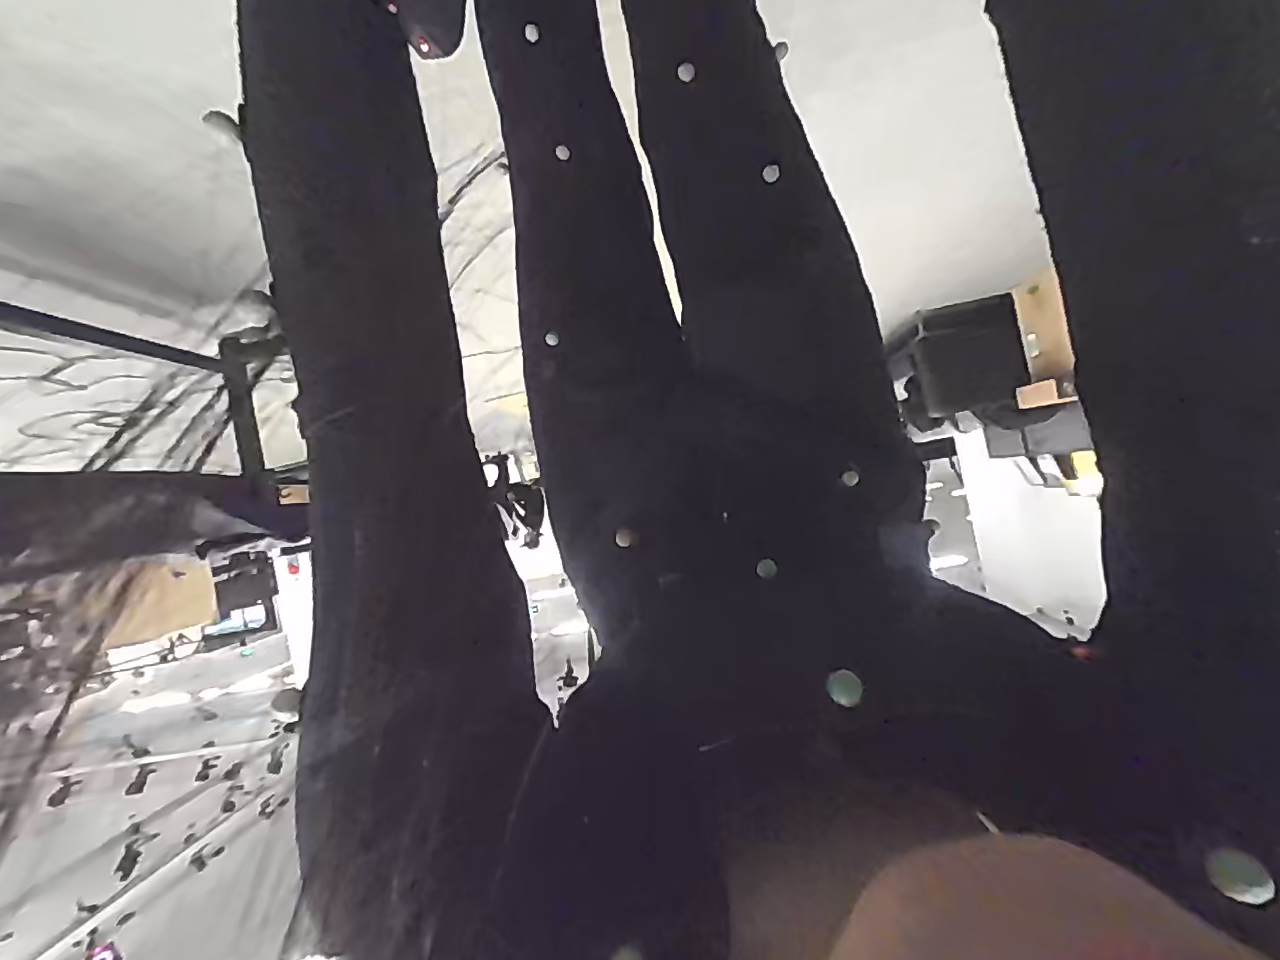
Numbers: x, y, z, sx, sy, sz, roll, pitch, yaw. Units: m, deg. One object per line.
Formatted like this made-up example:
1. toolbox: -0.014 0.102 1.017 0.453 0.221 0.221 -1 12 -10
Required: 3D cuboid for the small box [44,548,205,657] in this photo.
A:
1. small box: -1.039 0.238 1.094 0.179 0.176 0.168 -11 180 3
